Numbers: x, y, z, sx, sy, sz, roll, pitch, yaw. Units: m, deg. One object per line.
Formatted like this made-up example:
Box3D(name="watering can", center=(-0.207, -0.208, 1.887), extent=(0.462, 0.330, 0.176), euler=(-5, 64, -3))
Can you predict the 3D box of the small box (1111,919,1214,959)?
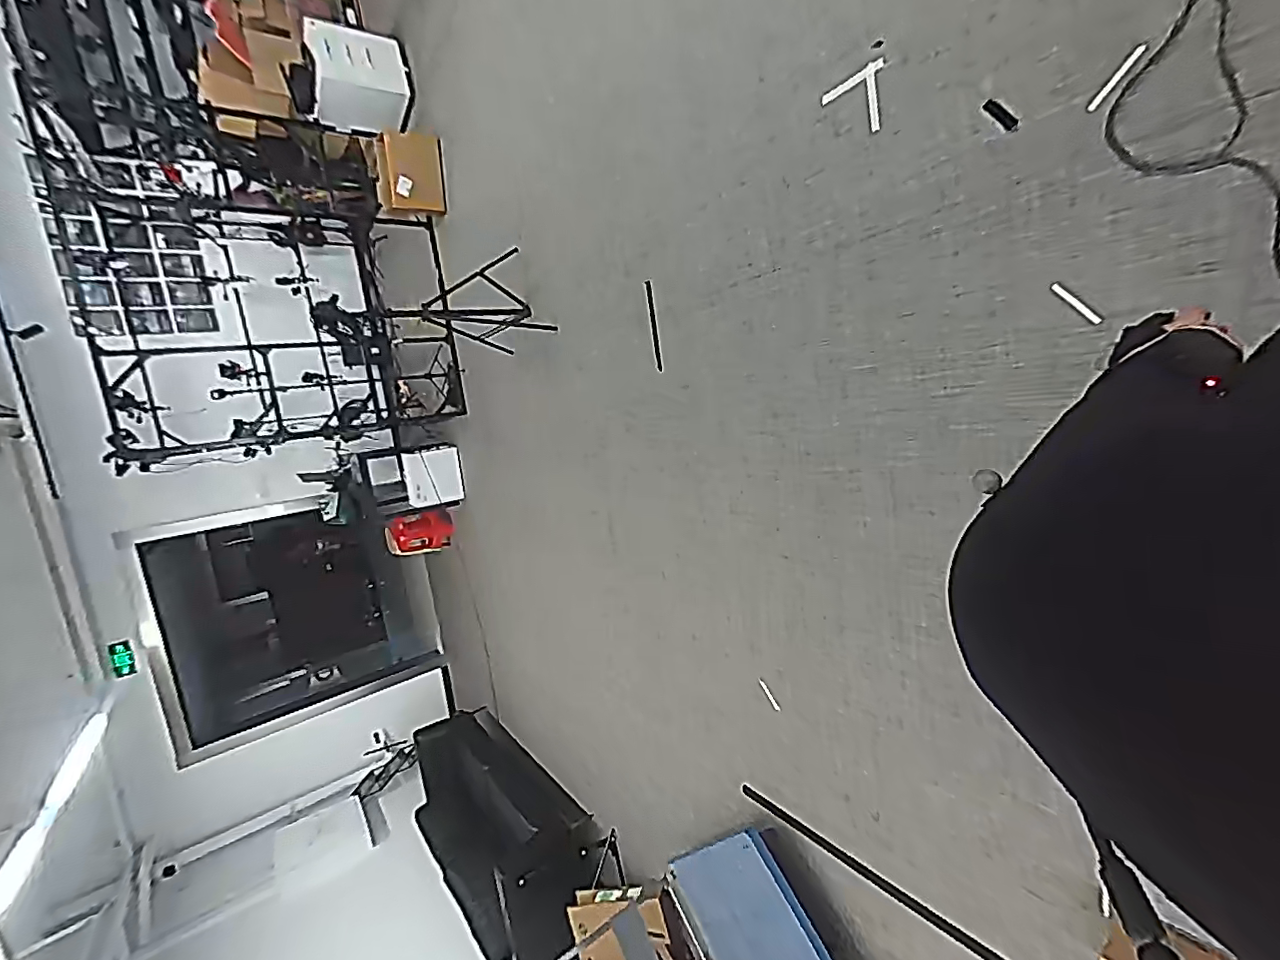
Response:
Box3D(name="small box", center=(1.121, 1.101, 1.140), extent=(0.168, 0.176, 0.179), euler=(5, 104, 55))
